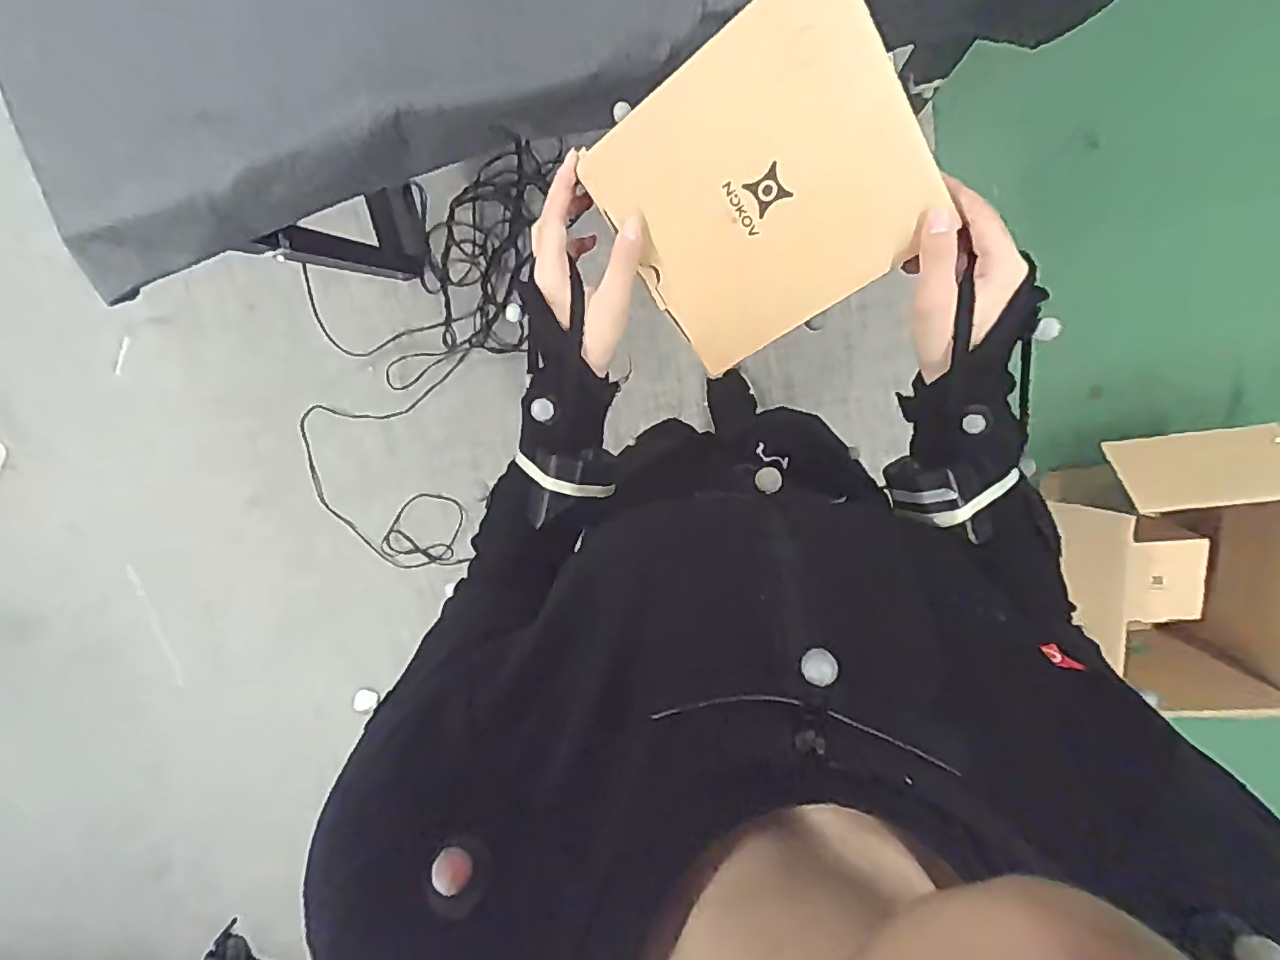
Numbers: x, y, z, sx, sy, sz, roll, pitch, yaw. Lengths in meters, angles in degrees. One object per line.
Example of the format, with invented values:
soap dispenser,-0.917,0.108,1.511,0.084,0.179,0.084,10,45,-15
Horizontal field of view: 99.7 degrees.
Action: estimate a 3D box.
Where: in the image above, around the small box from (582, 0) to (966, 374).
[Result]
small box,0.090,-0.211,0.391,0.179,0.176,0.168,-29,109,25
